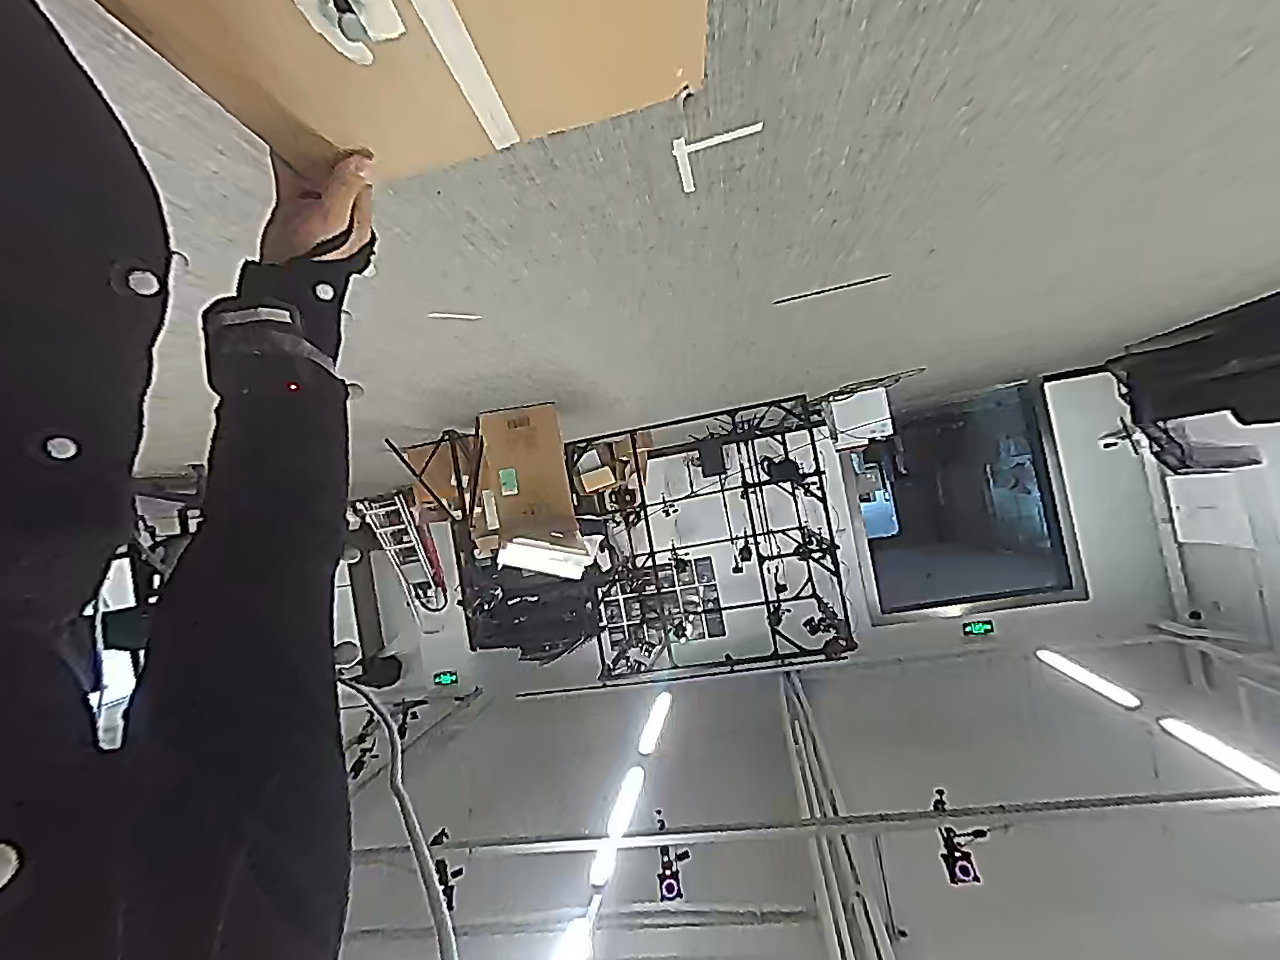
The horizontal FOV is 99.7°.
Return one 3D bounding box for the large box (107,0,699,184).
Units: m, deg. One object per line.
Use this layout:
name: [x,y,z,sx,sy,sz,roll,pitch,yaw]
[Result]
large box: [-0.157,-0.420,0.233,0.320,0.320,0.408,-12,179,5]
